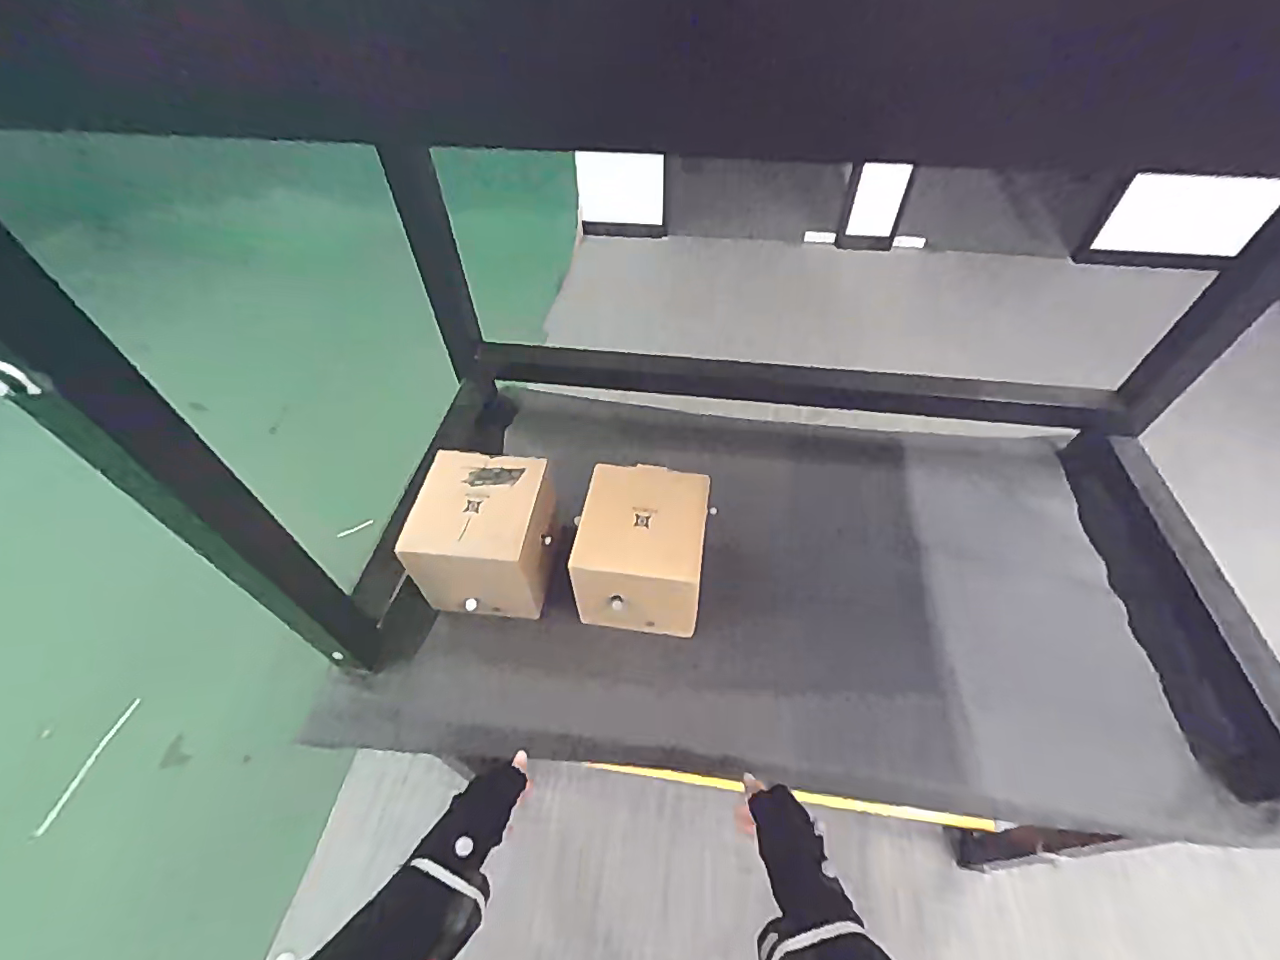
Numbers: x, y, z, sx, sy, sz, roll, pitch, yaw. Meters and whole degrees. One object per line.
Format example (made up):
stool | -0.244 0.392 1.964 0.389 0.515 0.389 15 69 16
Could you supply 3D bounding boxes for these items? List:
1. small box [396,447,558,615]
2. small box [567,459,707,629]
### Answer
small box | -0.221 0.075 0.795 0.168 0.176 0.179 4 51 5
small box | 0.004 0.095 0.776 0.168 0.176 0.179 6 50 6
